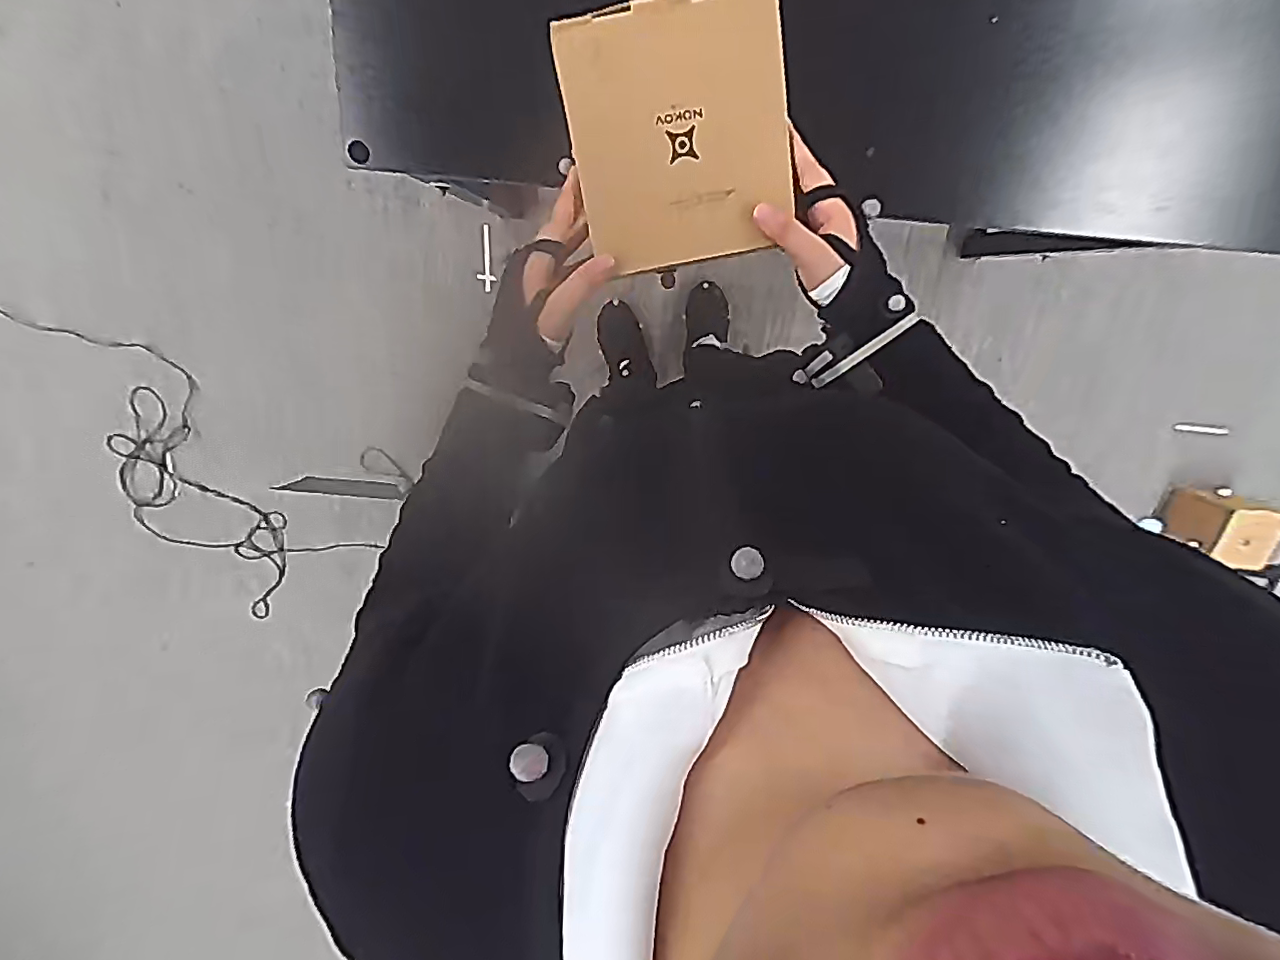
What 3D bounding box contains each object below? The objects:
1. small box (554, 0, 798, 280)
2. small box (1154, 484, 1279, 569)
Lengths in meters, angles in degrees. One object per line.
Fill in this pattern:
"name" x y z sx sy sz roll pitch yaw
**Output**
"small box" 0.027 -0.283 0.479 0.168 0.176 0.179 -11 110 1
"small box" 1.630 0.129 1.534 0.168 0.176 0.179 5 111 -4
